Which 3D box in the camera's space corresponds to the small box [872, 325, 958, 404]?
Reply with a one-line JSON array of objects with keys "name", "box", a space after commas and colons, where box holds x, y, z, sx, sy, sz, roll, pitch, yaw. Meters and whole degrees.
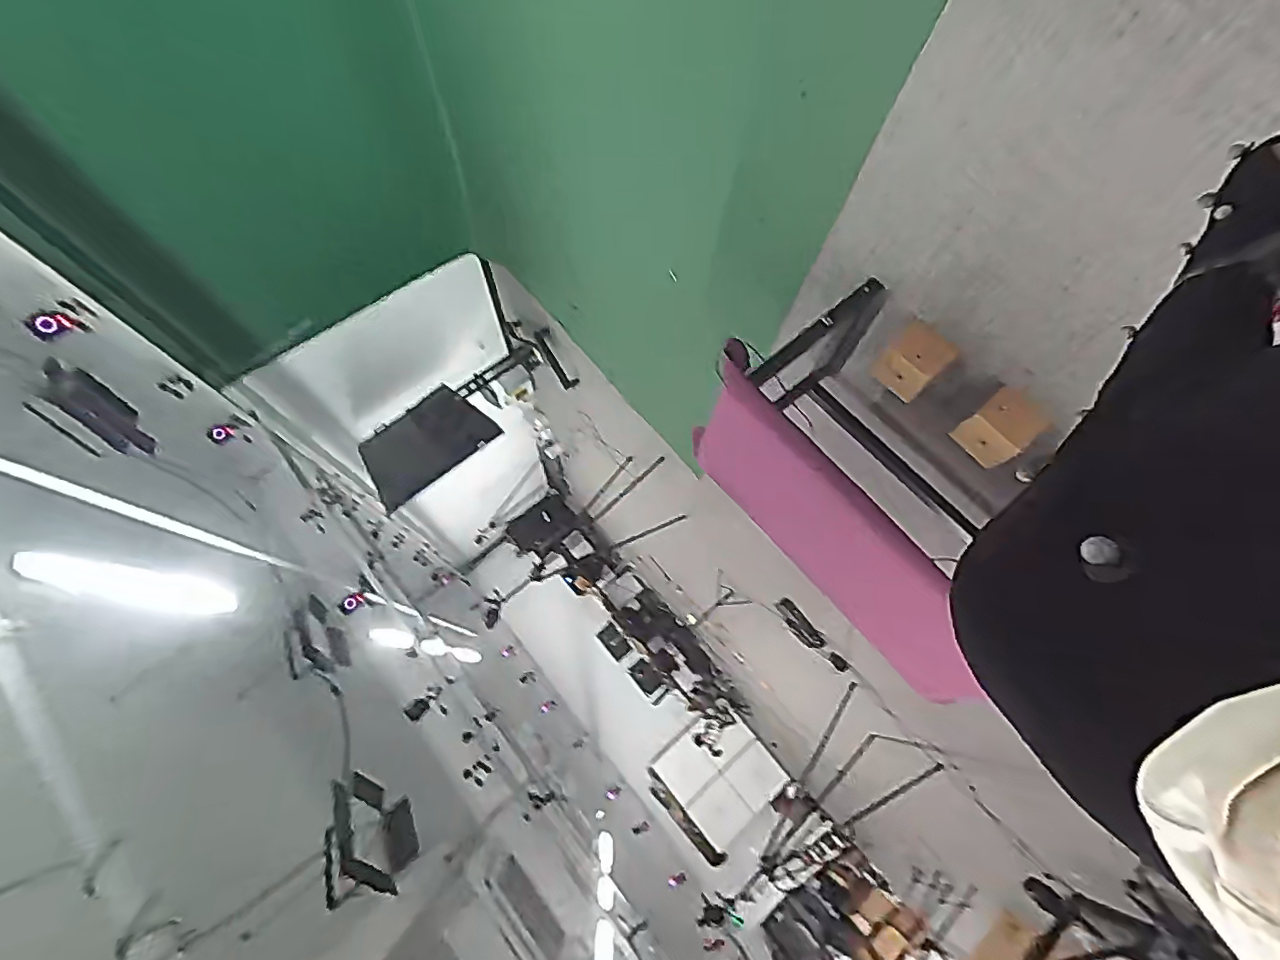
[{"name": "small box", "box": [0.959, -0.405, 1.885, 0.179, 0.176, 0.168, 47, 163, 17]}]

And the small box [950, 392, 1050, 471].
[{"name": "small box", "box": [1.182, -0.166, 1.781, 0.179, 0.176, 0.168, 48, 165, 14]}]
